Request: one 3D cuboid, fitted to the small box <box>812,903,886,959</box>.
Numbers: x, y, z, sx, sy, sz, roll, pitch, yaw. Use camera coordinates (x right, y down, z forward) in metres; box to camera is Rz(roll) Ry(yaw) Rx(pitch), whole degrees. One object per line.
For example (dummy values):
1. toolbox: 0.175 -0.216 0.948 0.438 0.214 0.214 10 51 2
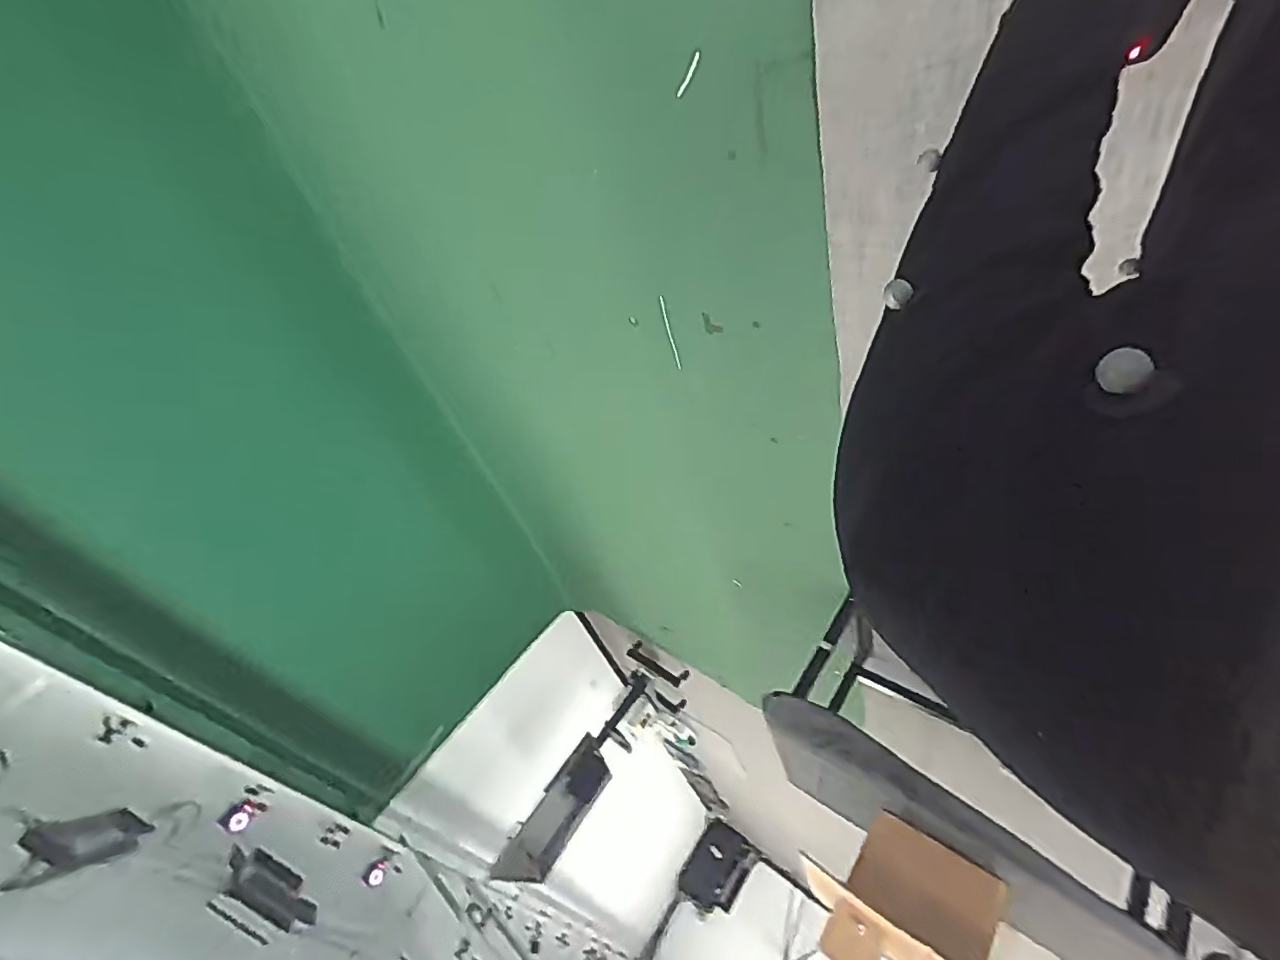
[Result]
1. small box: 0.667 1.506 1.721 0.168 0.176 0.179 21 143 39
